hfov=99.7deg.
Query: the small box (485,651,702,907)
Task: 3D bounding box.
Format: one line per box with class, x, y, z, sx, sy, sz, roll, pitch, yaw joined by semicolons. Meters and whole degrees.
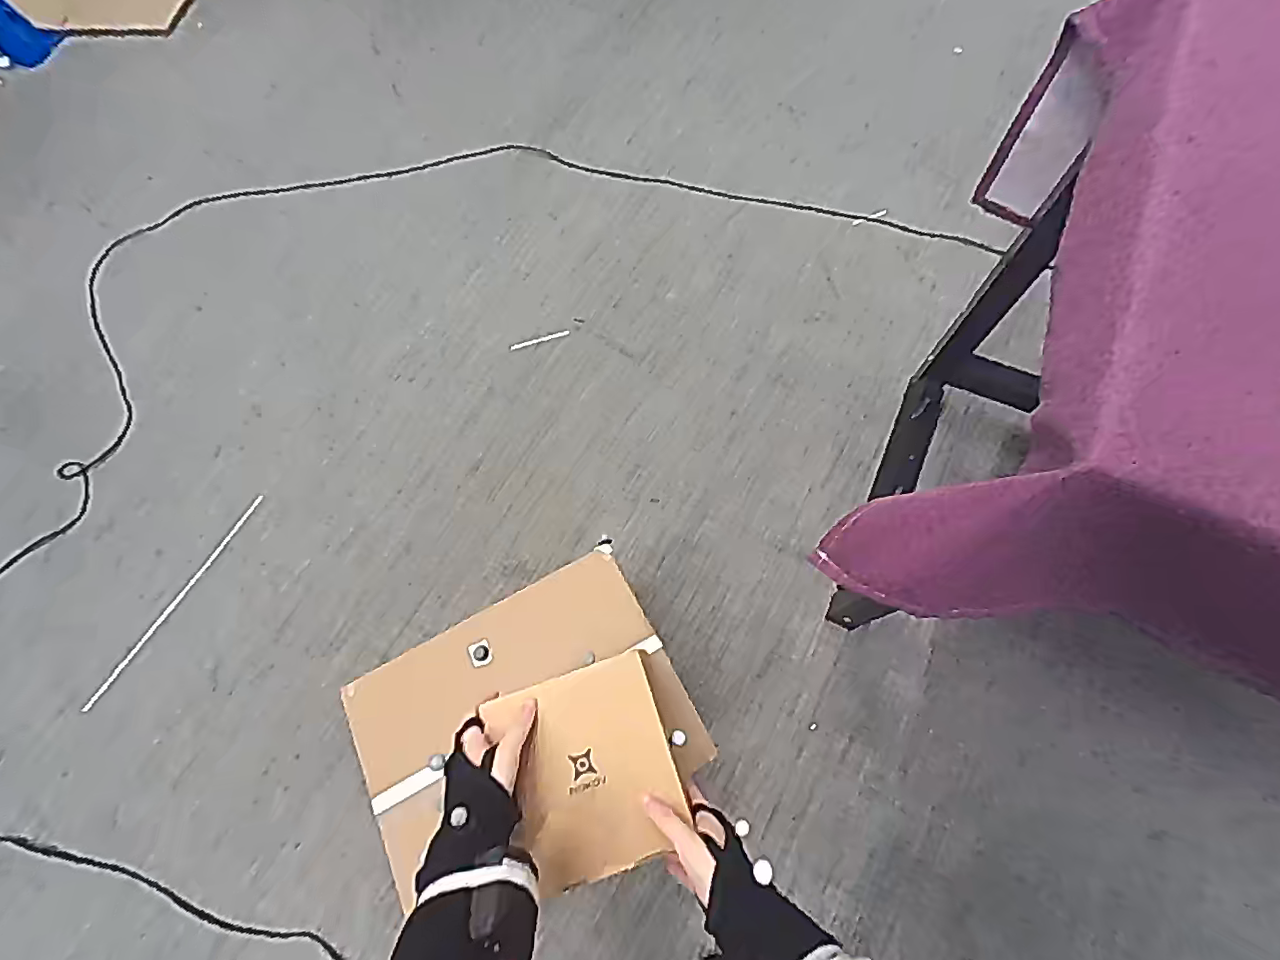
small box;-0.044;0.293;0.576;0.168;0.176;0.179;-19;74;-2
